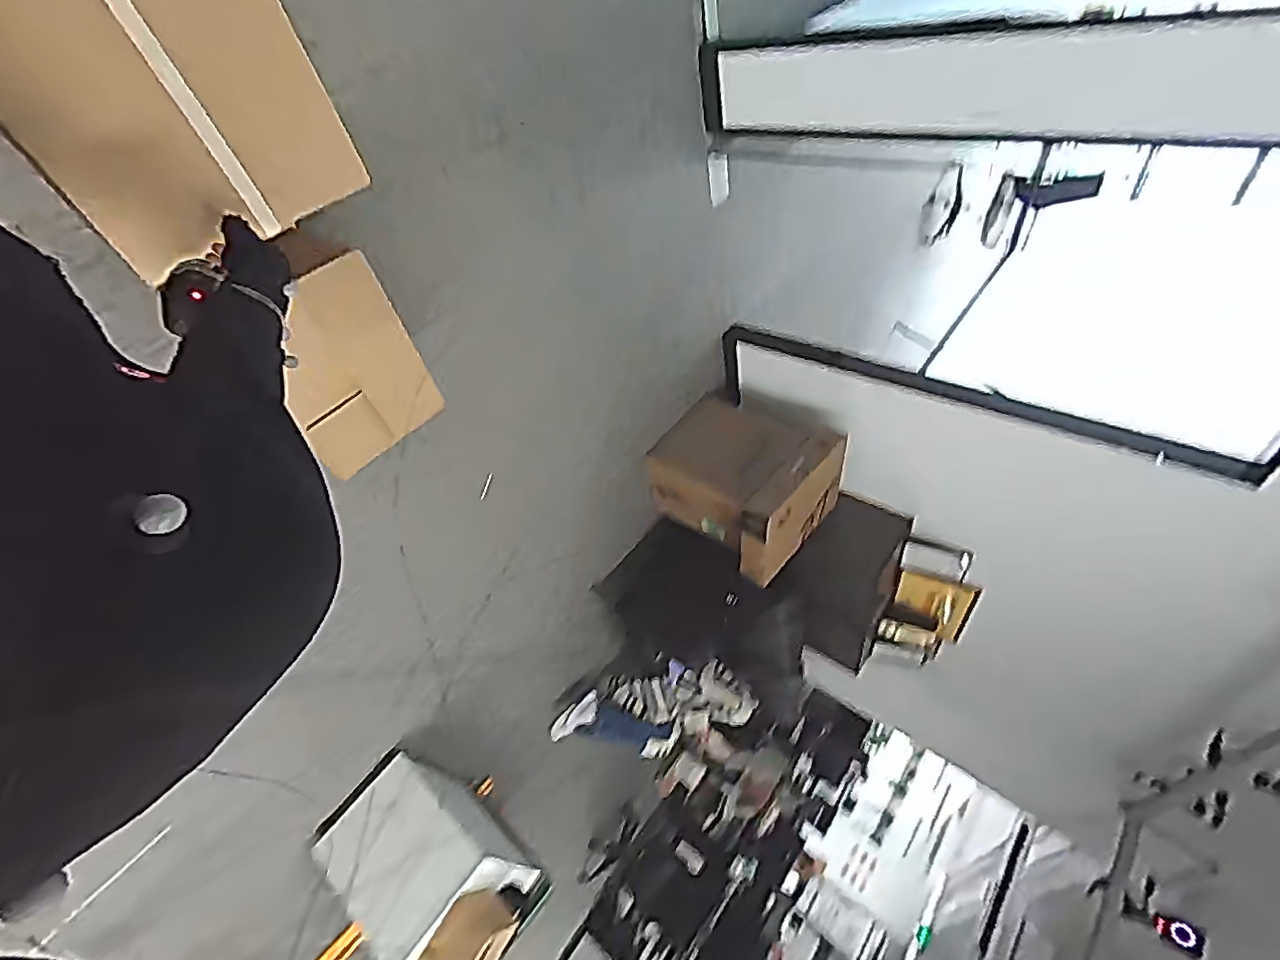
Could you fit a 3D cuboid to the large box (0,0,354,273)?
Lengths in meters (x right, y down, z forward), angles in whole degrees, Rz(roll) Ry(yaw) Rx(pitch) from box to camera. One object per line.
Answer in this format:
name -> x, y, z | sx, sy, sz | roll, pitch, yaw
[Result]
large box -> -0.641, -0.525, 0.639 | 0.320, 0.320, 0.408 | -43, 142, -24
